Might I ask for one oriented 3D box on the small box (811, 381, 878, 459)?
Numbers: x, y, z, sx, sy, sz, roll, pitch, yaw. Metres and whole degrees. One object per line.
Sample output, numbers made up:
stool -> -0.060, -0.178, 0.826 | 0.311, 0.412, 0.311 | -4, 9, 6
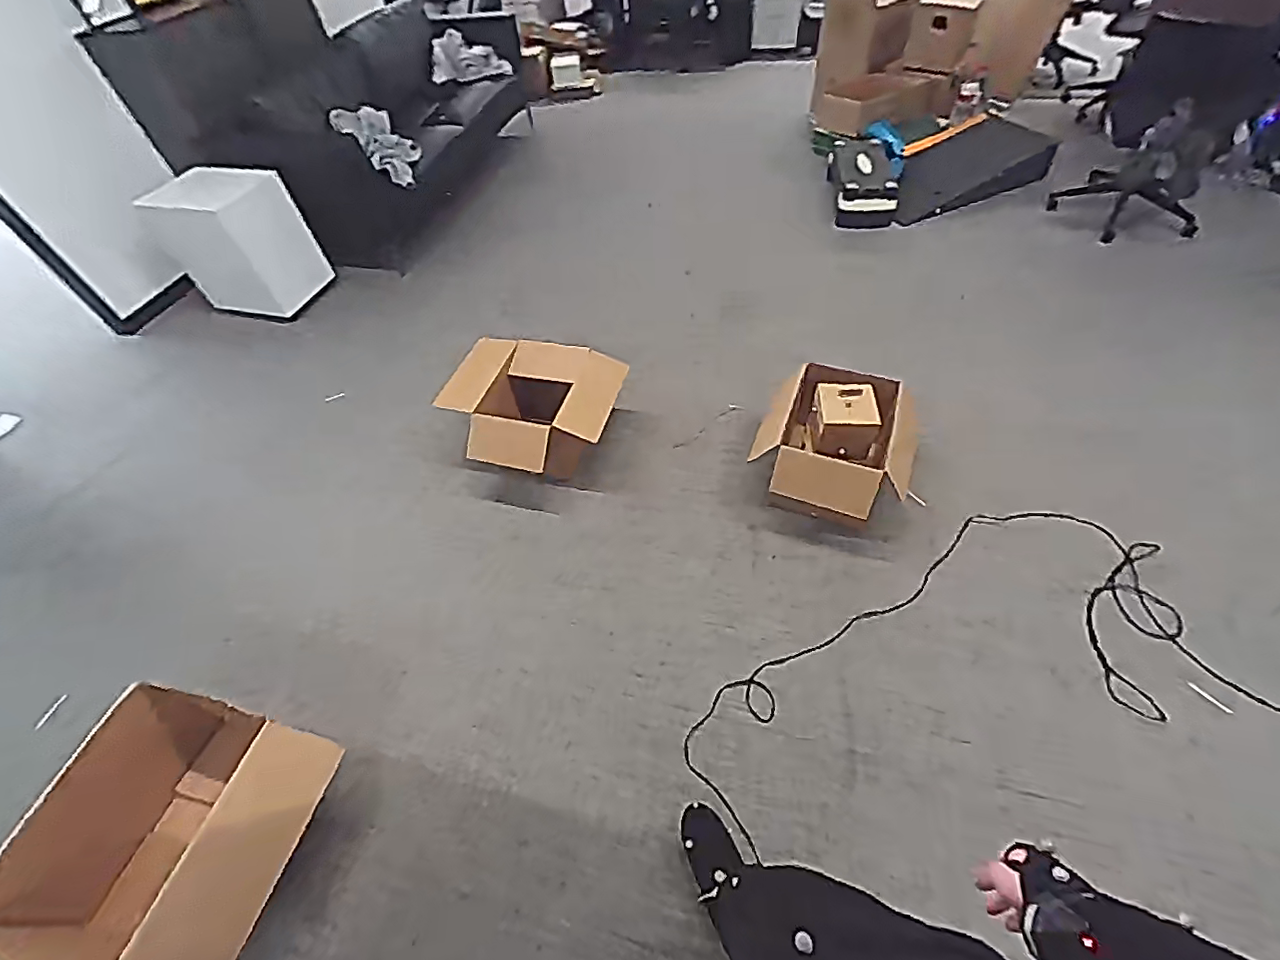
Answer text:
small box -> 0.639, -0.190, 1.709 | 0.168, 0.176, 0.179 | 4, 52, 10
